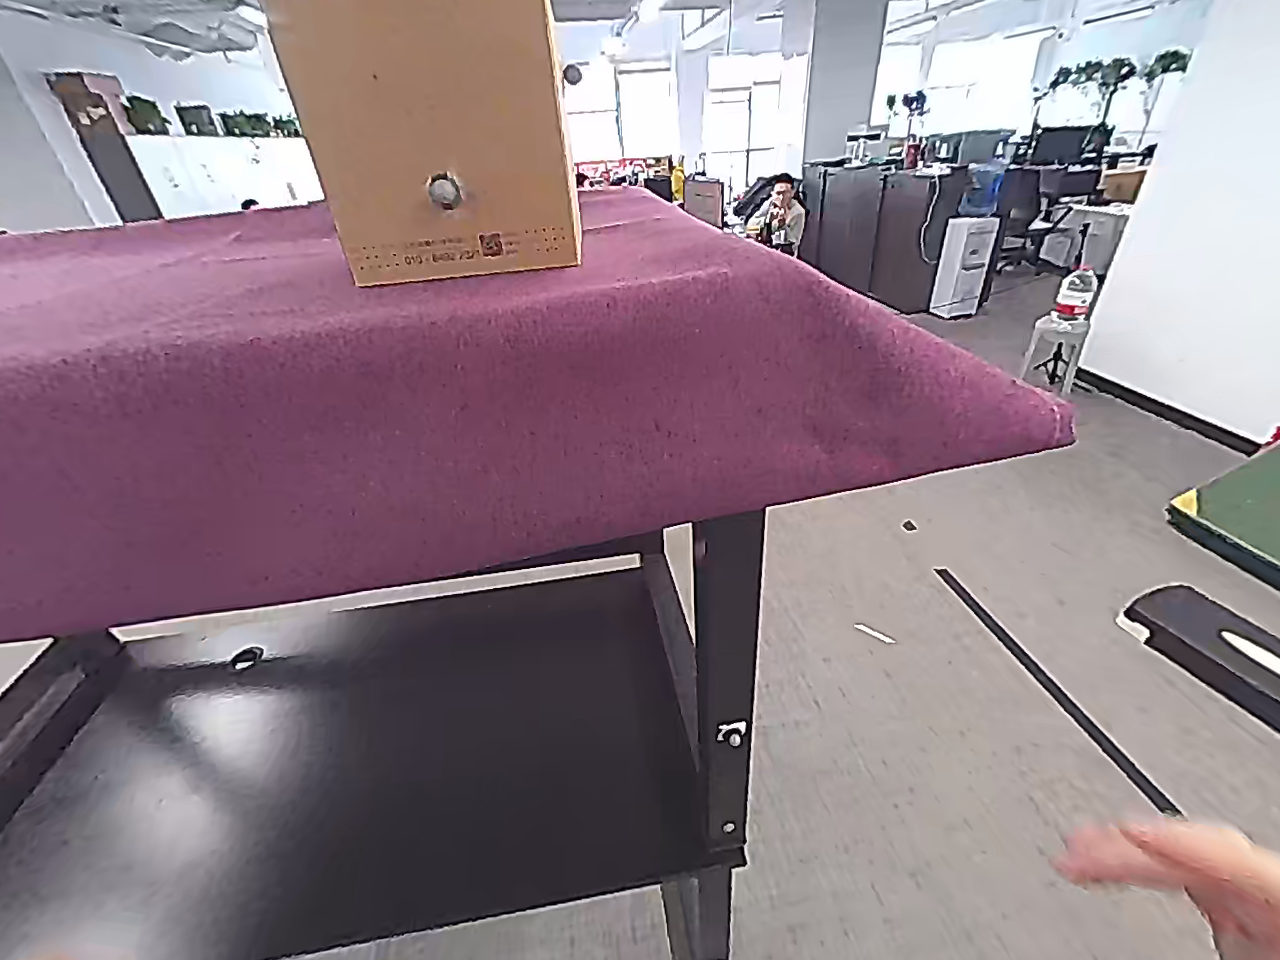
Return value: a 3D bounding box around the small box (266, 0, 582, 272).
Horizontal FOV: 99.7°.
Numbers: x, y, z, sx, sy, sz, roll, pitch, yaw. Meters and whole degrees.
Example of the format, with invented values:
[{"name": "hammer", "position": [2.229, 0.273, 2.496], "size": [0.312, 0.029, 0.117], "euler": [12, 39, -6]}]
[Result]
[{"name": "small box", "position": [-0.139, -0.265, 0.420], "size": [0.168, 0.176, 0.179], "euler": [-6, 32, -2]}]
